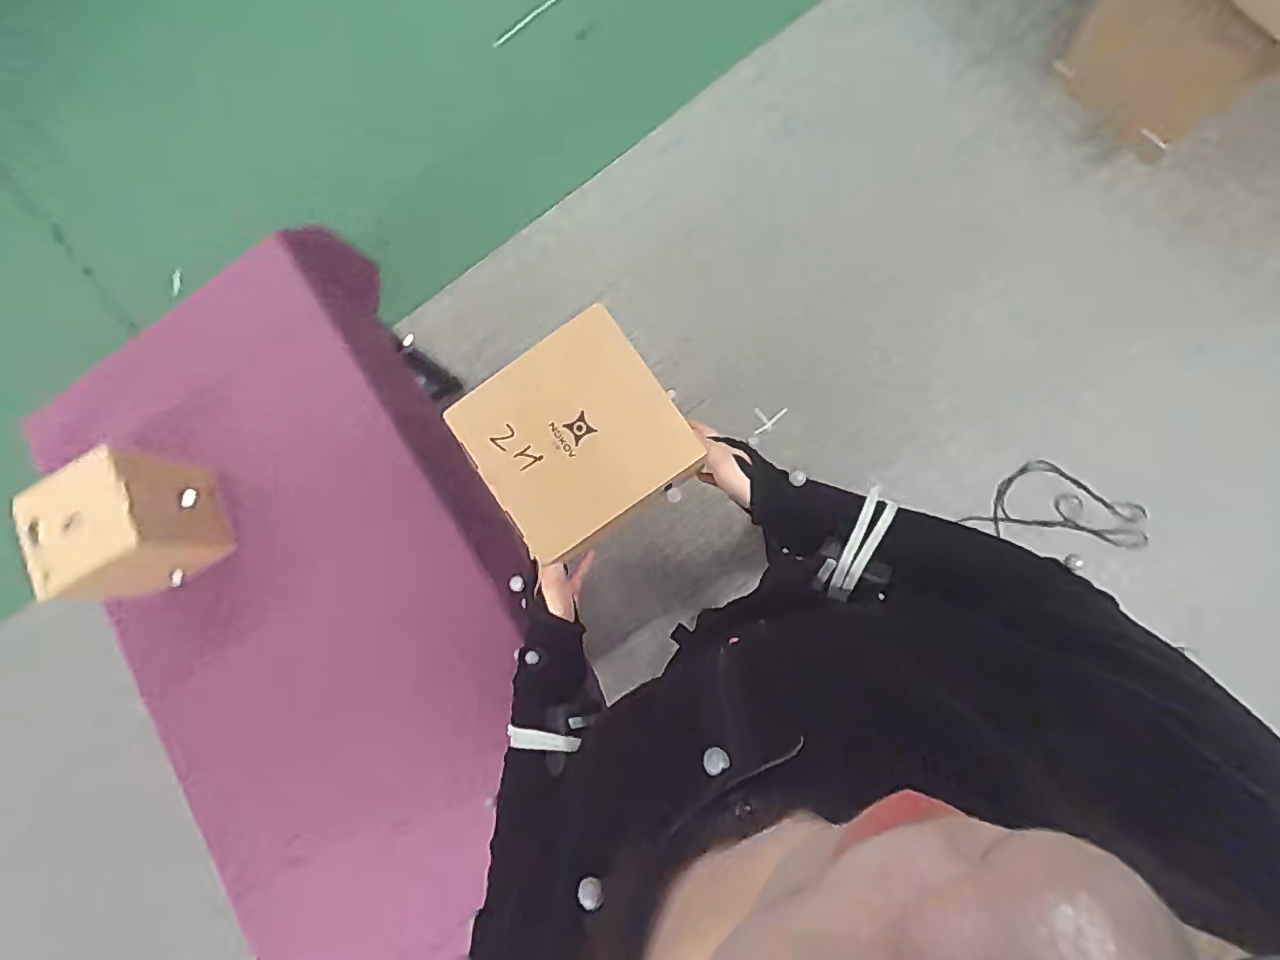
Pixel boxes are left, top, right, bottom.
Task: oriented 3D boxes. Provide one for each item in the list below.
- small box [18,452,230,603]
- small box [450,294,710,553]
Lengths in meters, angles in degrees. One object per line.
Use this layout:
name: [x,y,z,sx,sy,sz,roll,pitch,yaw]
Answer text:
small box: [-0.802,0.079,0.861,0.179,0.176,0.168,-29,77,3]
small box: [-0.048,-0.046,0.546,0.179,0.176,0.168,-33,84,4]
